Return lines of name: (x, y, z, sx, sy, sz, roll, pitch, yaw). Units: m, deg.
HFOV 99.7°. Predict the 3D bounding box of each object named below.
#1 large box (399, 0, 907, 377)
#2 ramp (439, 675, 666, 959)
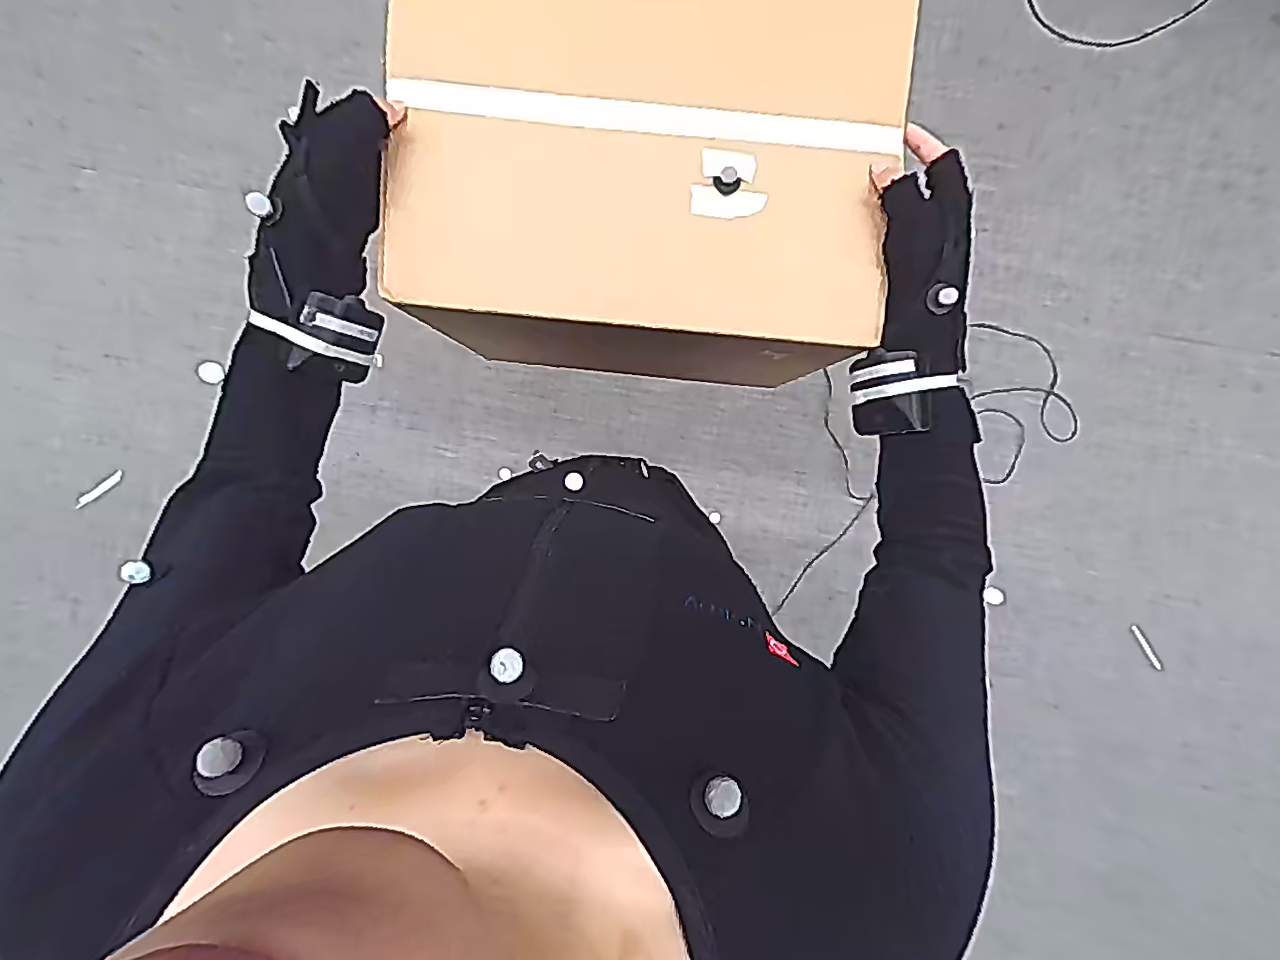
large box: (0.005, -0.298, 0.587, 0.408, 0.320, 0.320, 5, 94, -2)
ramp: (-0.241, 1.057, 1.408, 0.509, 0.206, 0.991, 7, 90, 2)
